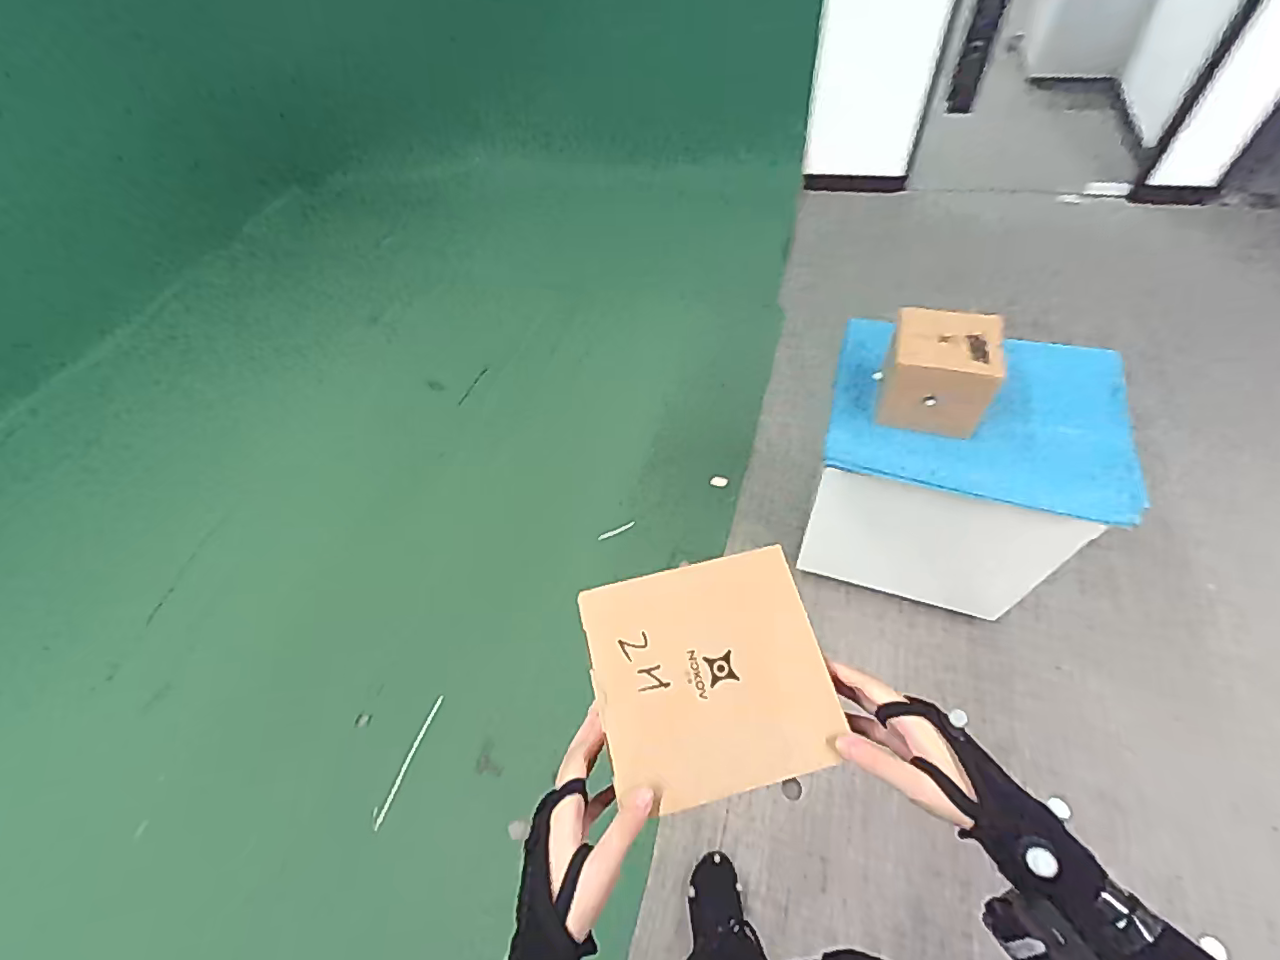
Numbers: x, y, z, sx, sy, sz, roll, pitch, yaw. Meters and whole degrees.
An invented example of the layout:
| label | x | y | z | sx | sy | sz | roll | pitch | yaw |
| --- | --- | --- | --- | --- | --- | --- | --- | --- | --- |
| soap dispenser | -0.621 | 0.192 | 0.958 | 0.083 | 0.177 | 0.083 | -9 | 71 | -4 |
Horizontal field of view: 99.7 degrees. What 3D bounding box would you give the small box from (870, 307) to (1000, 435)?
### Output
| label | x | y | z | sx | sy | sz | roll | pitch | yaw |
| --- | --- | --- | --- | --- | --- | --- | --- | --- | --- |
| small box | 0.562 | -0.206 | 1.044 | 0.179 | 0.176 | 0.168 | 11 | 56 | 16 |
